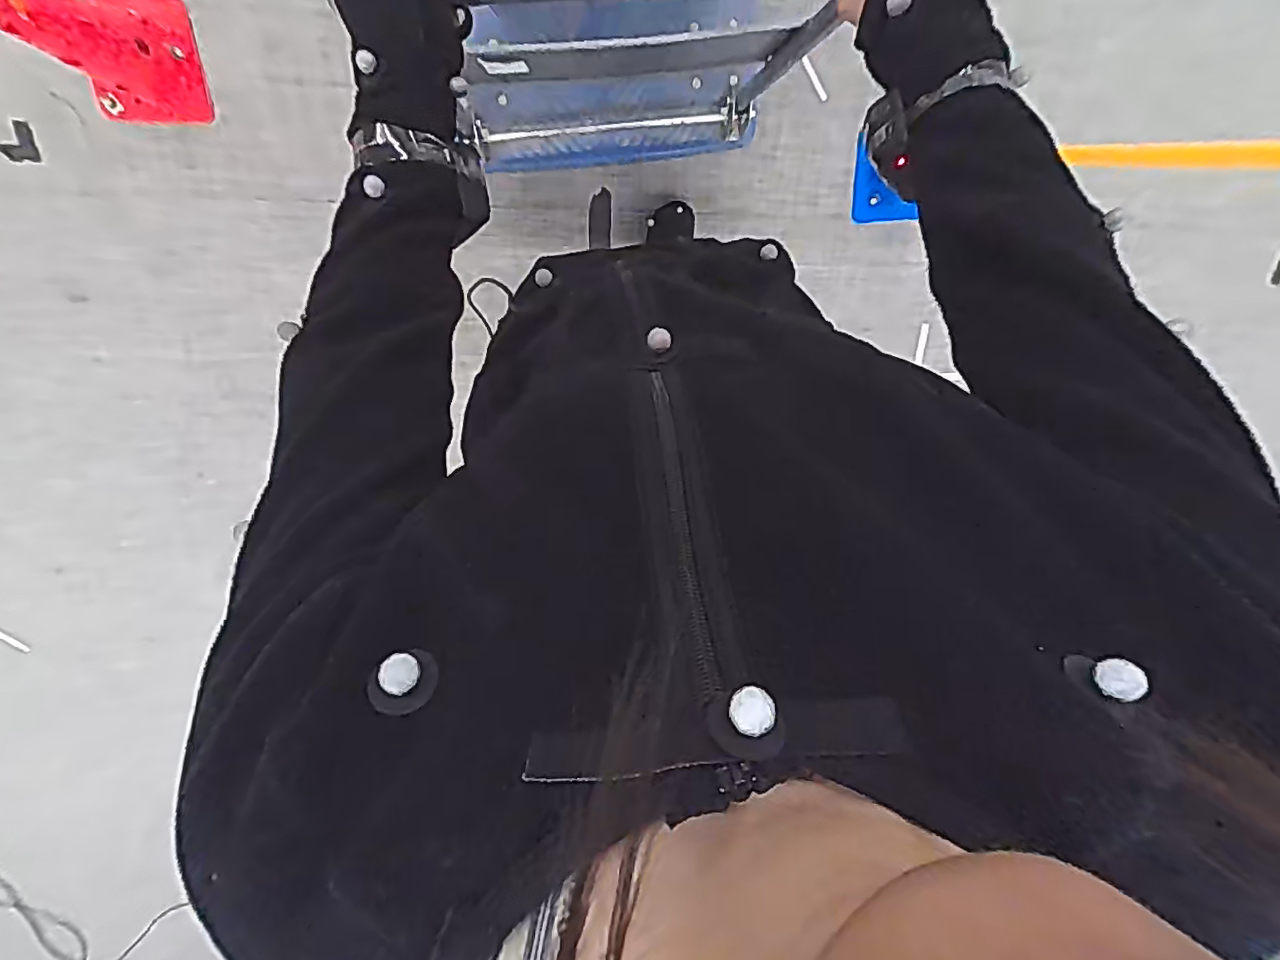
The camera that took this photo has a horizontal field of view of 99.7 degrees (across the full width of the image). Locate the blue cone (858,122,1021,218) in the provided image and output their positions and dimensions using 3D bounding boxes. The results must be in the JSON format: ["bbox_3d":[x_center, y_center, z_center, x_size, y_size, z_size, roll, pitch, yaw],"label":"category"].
[{"bbox_3d":[0.618,-0.650,1.102,0.193,0.380,0.192,-5,114,-6],"label":"blue cone"}]
